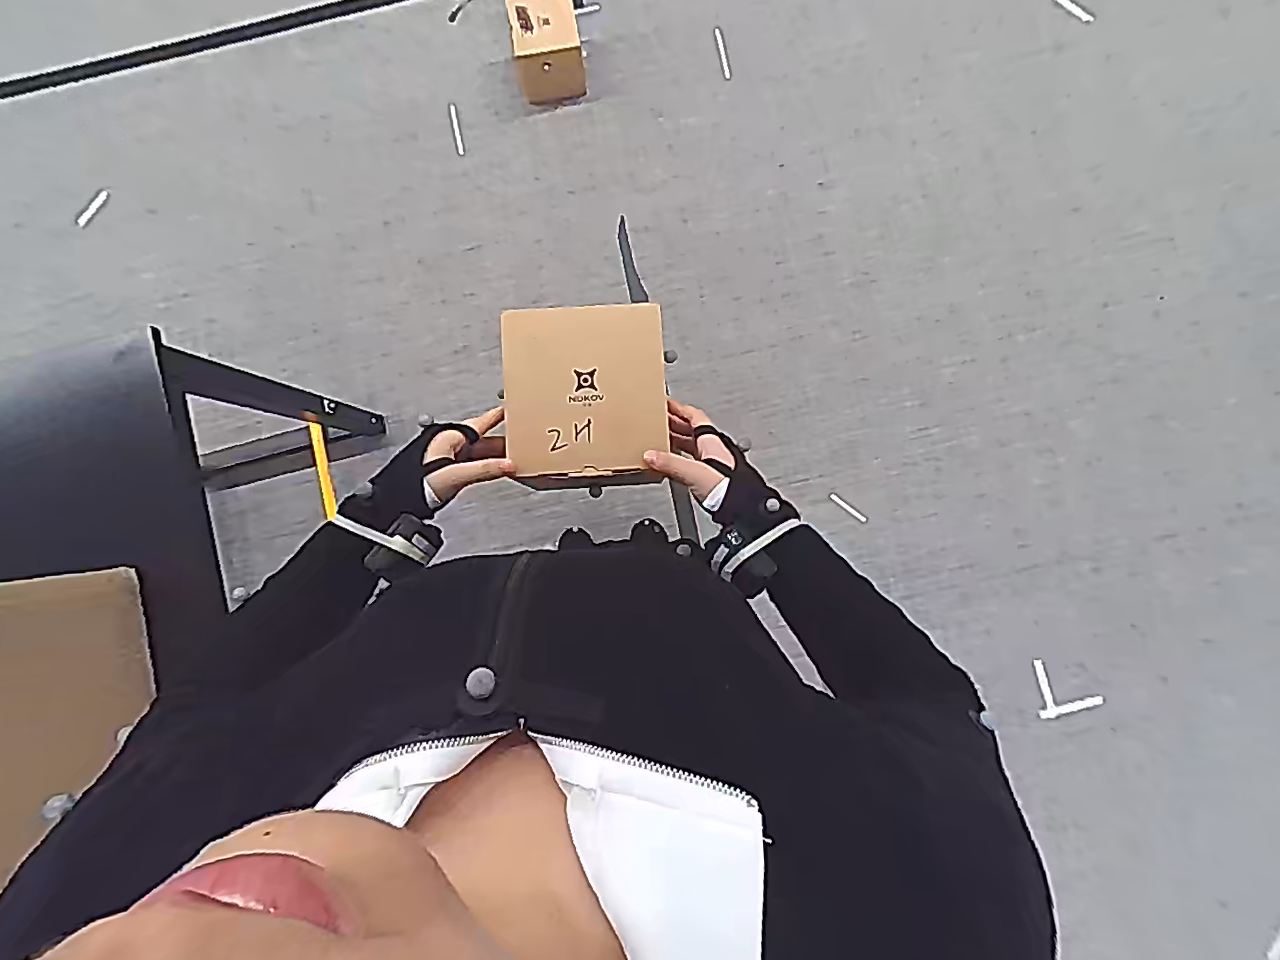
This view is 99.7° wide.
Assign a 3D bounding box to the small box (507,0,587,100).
[{"bbox_3d":[-0.249,-1.186,1.482,0.179,0.176,0.168,-10,88,-1],"label":"small box"}]

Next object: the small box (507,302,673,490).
[{"bbox_3d":[-0.054,-0.085,0.624,0.168,0.176,0.179,-3,85,-1],"label":"small box"}]
